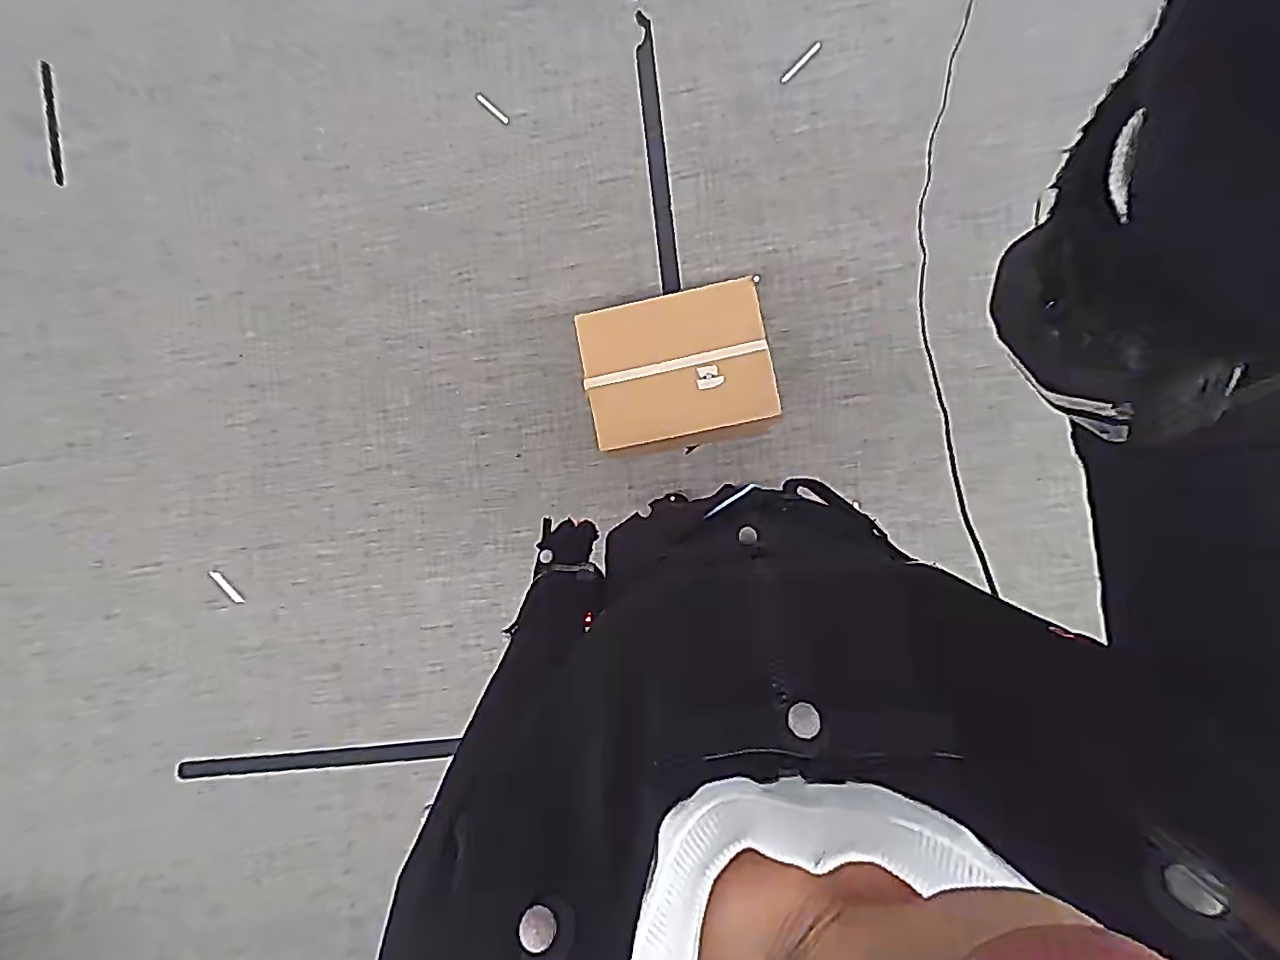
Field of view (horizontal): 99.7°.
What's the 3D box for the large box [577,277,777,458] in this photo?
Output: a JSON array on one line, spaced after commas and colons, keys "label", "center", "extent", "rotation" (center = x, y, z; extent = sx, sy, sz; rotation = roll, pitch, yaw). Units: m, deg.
[{"label": "large box", "center": [0.090, -0.253, 1.349], "extent": [0.408, 0.320, 0.320], "rotation": [-11, 88, 5]}]
